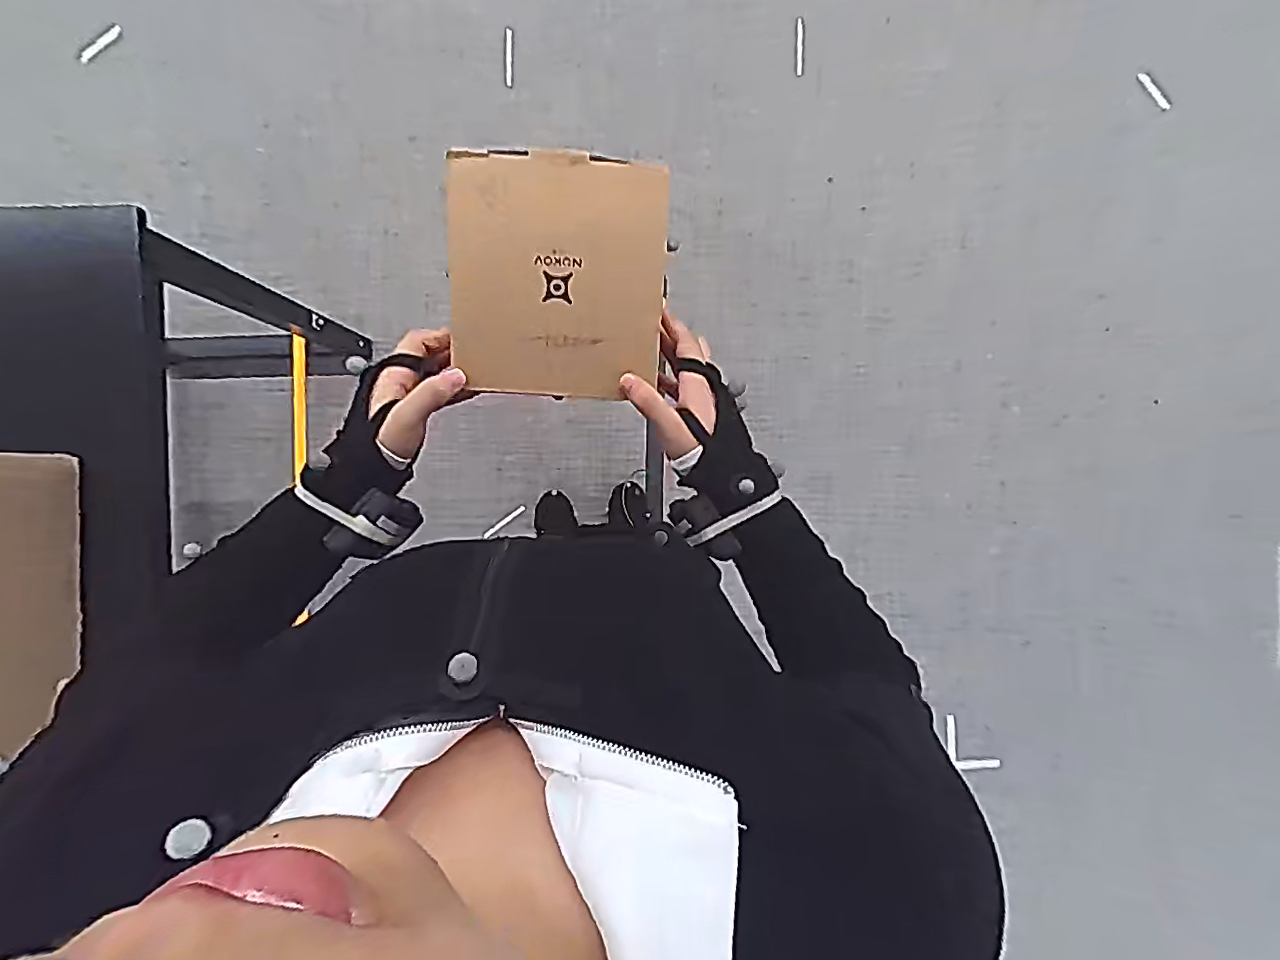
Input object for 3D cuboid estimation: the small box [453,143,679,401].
[{"bbox_3d":[-0.061,-0.172,0.486,0.168,0.176,0.179,3,105,-2],"label":"small box"}]
